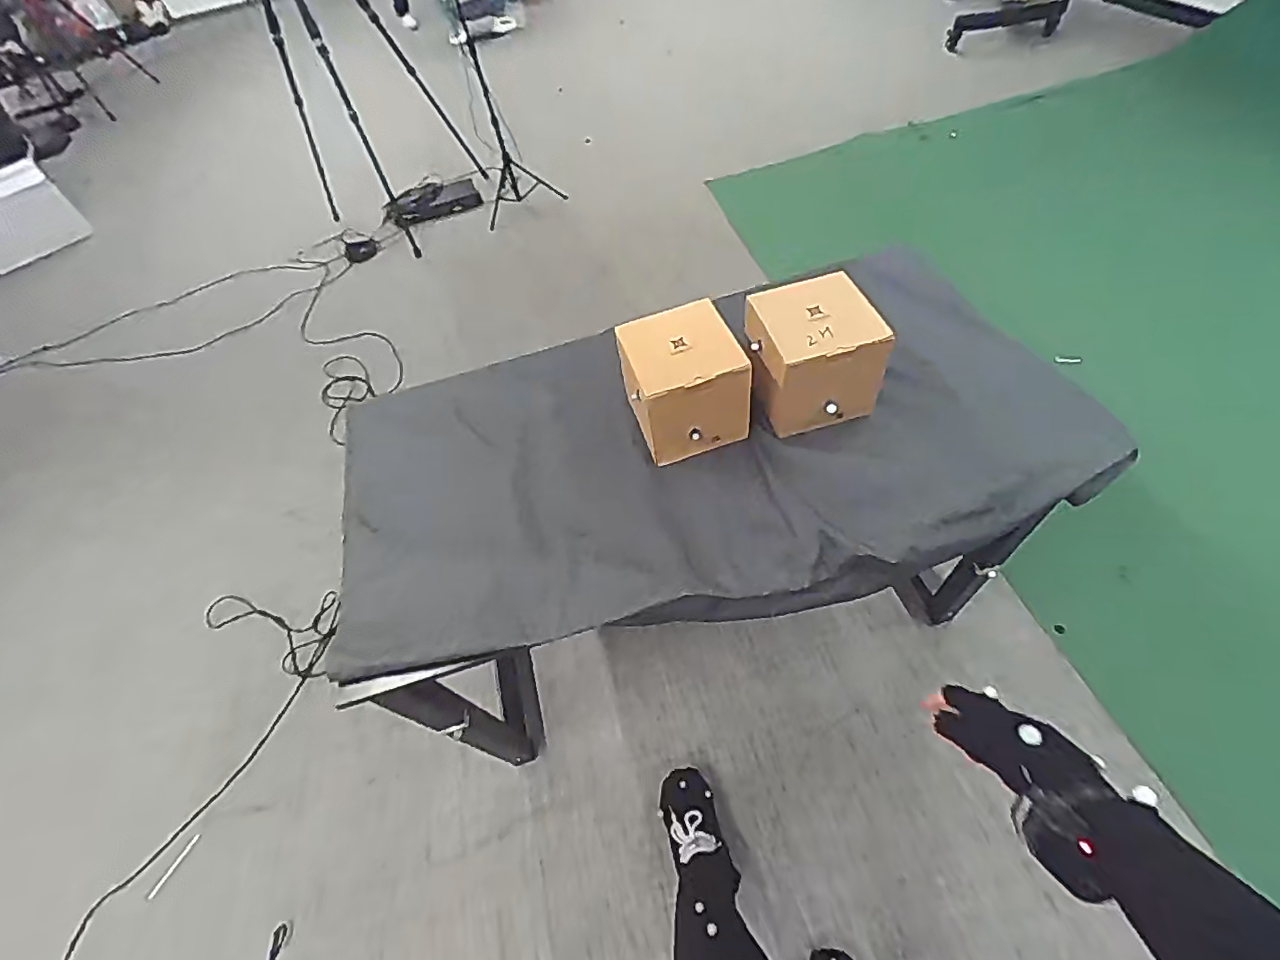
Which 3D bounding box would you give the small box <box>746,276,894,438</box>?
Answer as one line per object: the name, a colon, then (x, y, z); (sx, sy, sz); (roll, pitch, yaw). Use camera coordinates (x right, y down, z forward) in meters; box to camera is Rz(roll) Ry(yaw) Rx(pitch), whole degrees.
small box: (0.278, -0.199, 0.887); (0.168, 0.176, 0.179); (-15, 54, -1)
